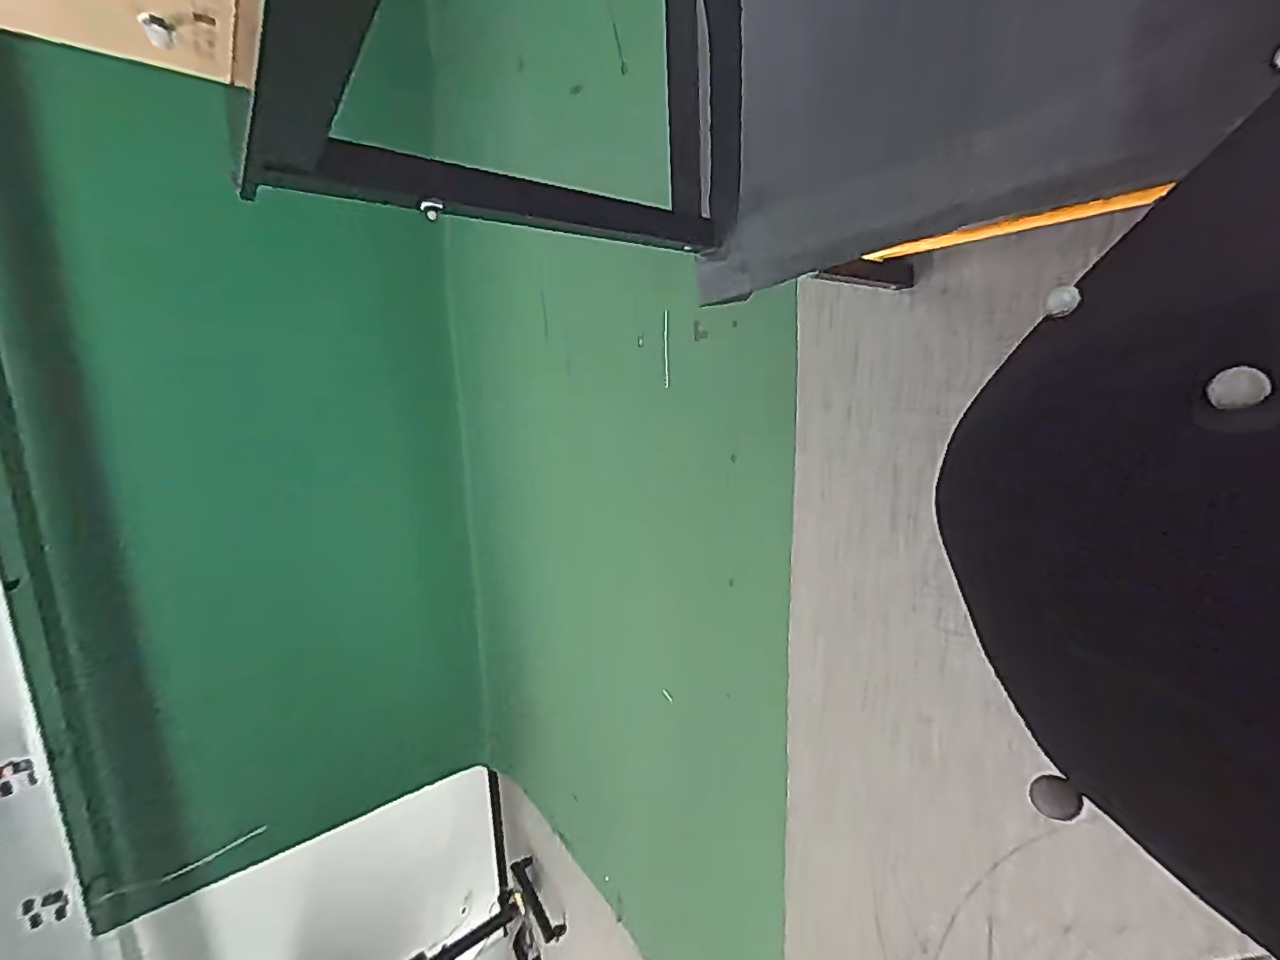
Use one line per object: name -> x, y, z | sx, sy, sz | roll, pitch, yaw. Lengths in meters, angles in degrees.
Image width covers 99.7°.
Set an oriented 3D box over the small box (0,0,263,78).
small box -> -0.402, -0.454, 0.406 | 0.168, 0.176, 0.179 | 11, 108, 52
